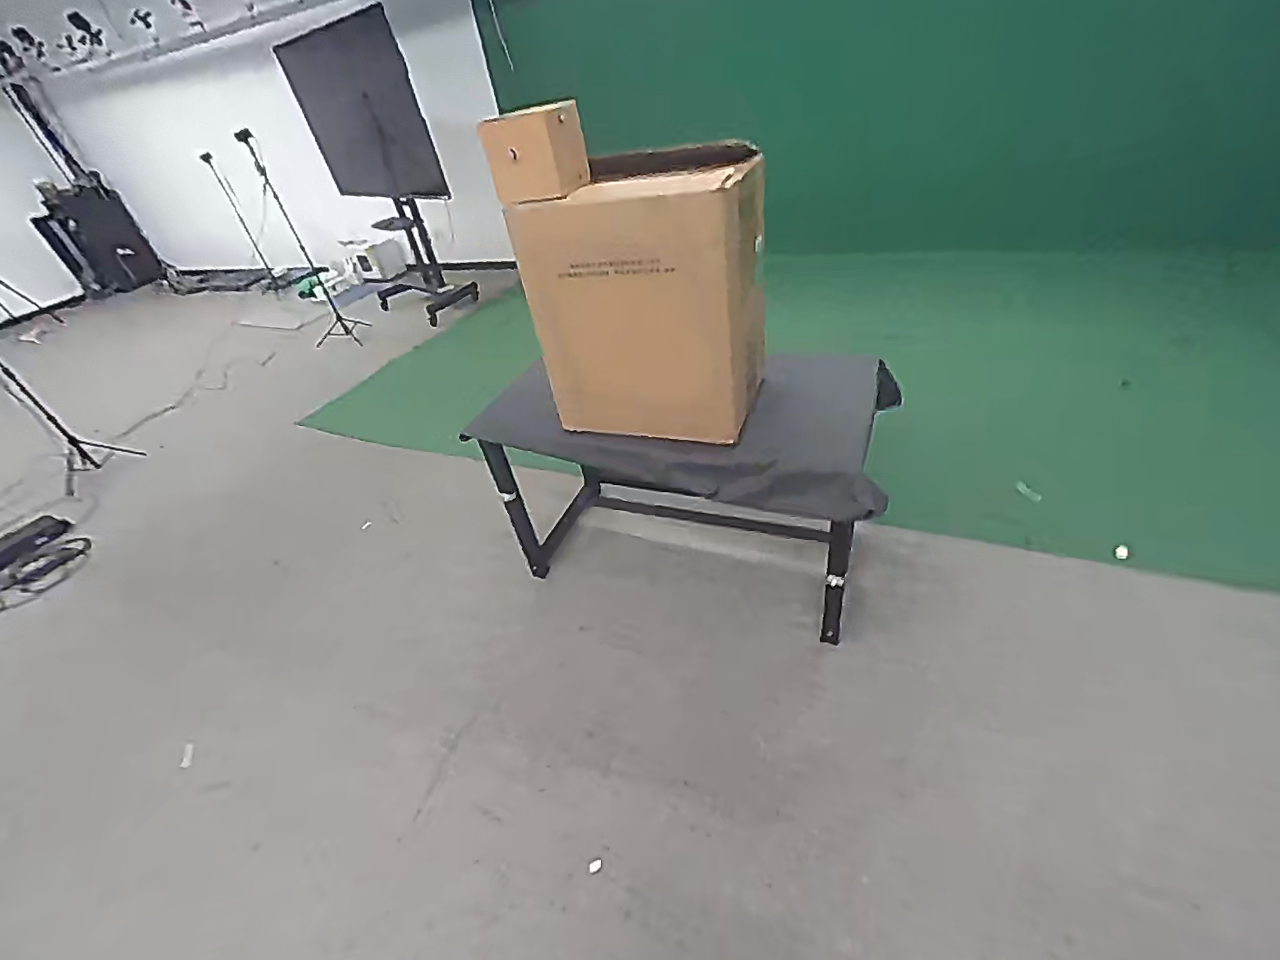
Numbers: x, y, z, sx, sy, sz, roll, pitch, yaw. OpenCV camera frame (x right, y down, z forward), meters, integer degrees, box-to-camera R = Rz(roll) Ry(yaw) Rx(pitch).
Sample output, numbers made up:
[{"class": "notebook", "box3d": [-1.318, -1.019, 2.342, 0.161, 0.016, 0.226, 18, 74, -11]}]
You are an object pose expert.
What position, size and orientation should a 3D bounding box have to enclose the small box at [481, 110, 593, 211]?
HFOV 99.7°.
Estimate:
[{"class": "small box", "box3d": [-0.233, -0.745, 1.270, 0.179, 0.176, 0.168, 5, 41, 22]}]
